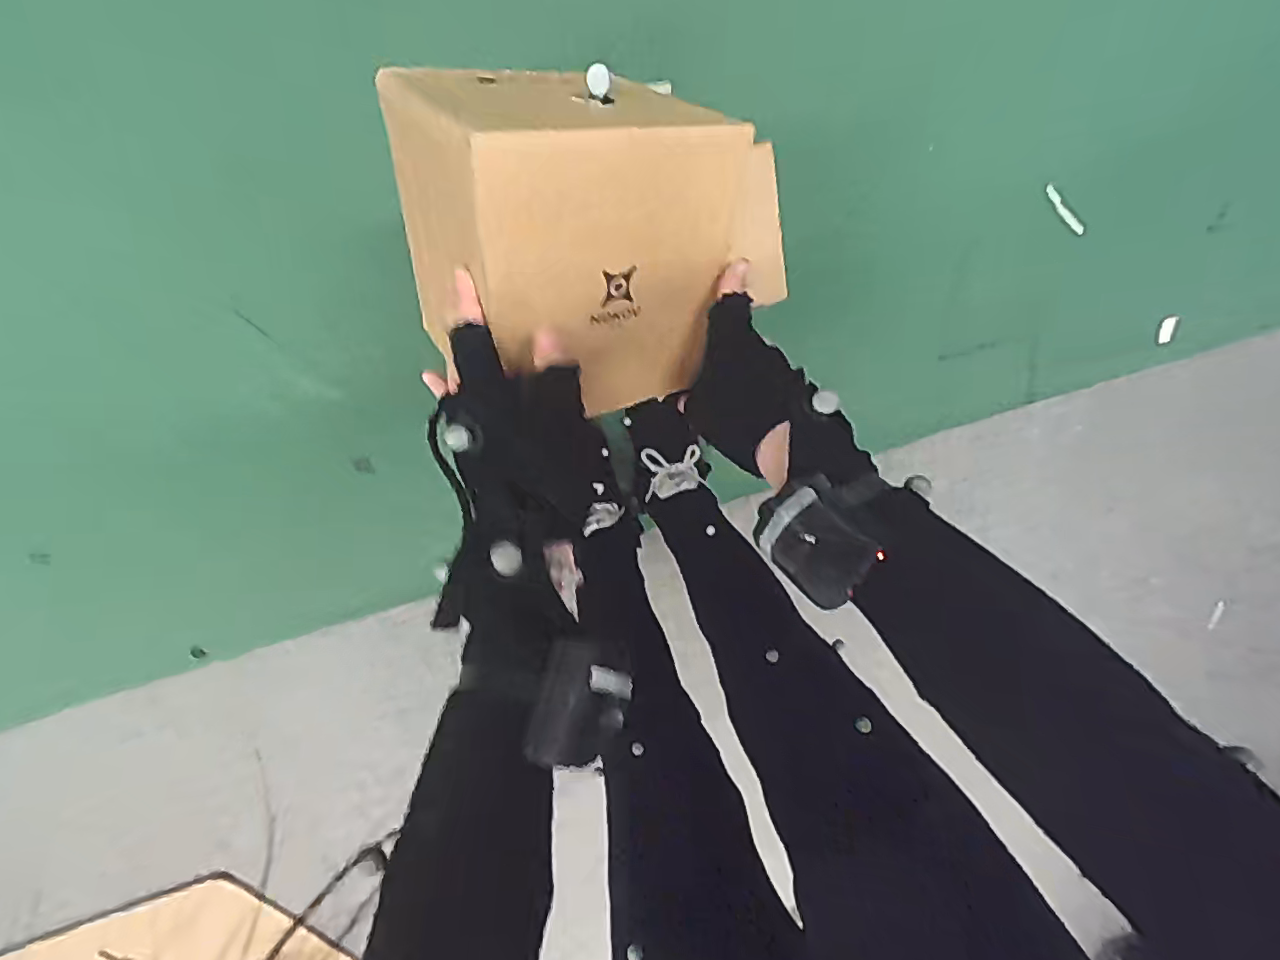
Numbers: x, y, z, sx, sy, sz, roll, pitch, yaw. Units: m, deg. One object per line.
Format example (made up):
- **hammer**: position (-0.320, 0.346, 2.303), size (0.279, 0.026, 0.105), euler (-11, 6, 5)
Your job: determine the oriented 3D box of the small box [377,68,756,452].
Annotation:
- **small box**: position (-0.056, -0.154, 0.362), size (0.168, 0.176, 0.179), euler (-21, 142, -26)
